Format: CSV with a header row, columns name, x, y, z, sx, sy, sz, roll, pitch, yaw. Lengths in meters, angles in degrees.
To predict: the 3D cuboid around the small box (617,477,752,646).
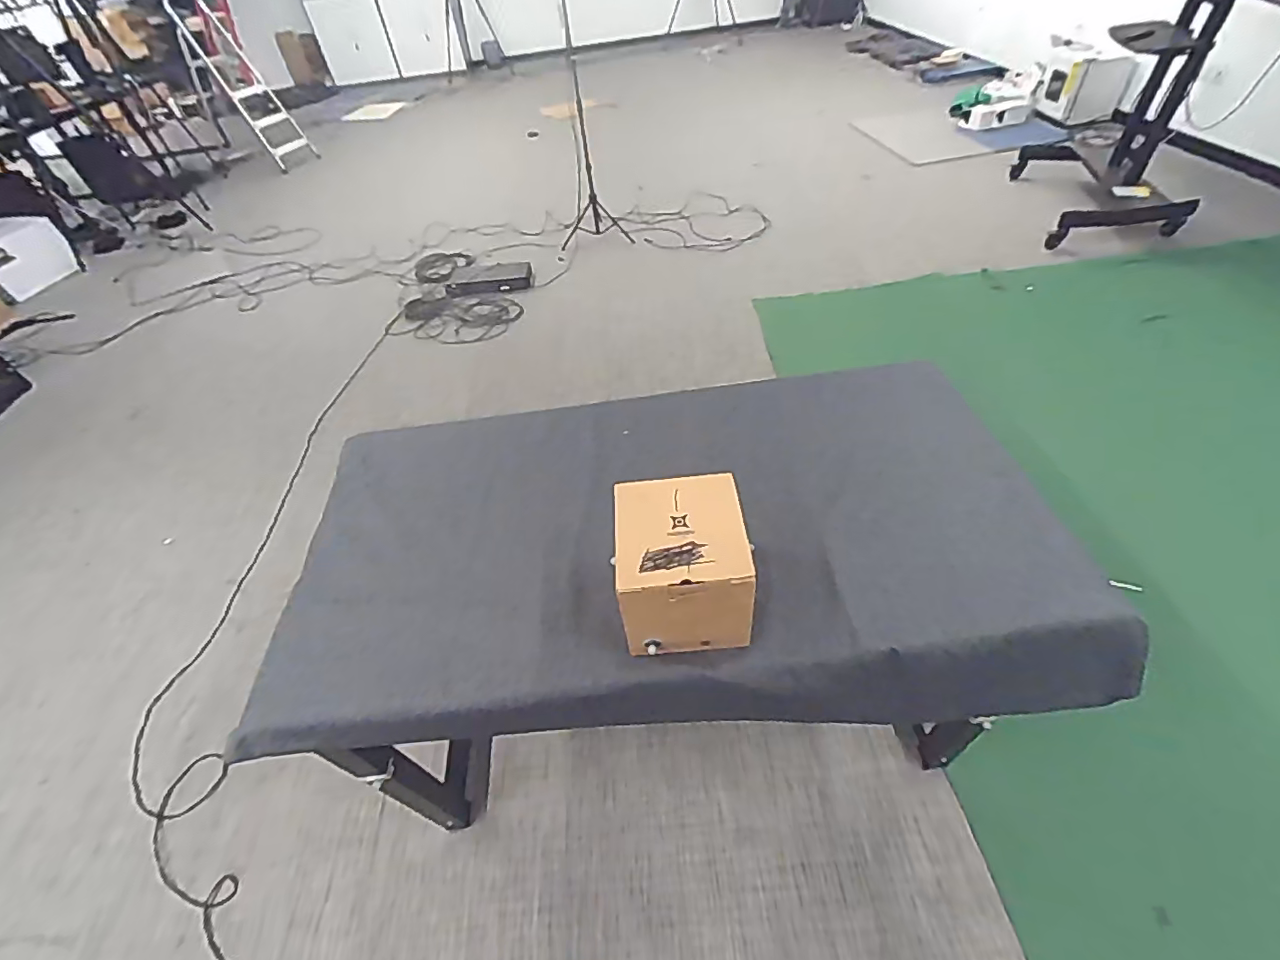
name,x,y,z,sx,sy,sz,roll,pitch,yaw
small box,0.060,0.119,0.756,0.168,0.176,0.179,-4,45,2
